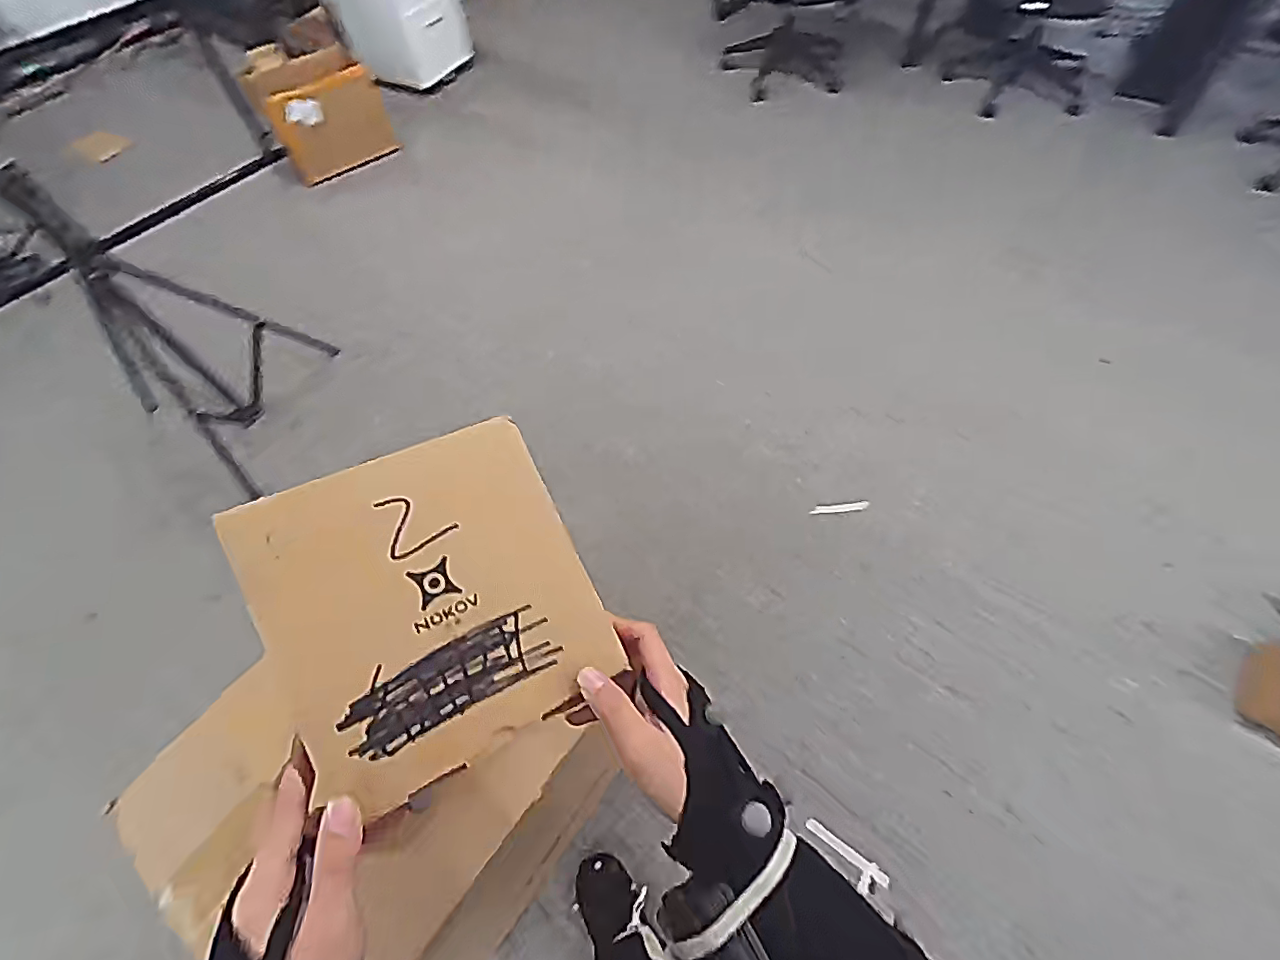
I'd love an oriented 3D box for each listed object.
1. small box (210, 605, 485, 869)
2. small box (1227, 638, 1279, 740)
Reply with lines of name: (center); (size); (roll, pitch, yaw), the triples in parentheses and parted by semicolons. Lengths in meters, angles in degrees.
small box: (-0.292, 0.273, 0.587); (0.168, 0.176, 0.179); (32, 66, 20)
small box: (1.392, 0.440, 1.122); (0.168, 0.176, 0.179); (32, 66, 21)
